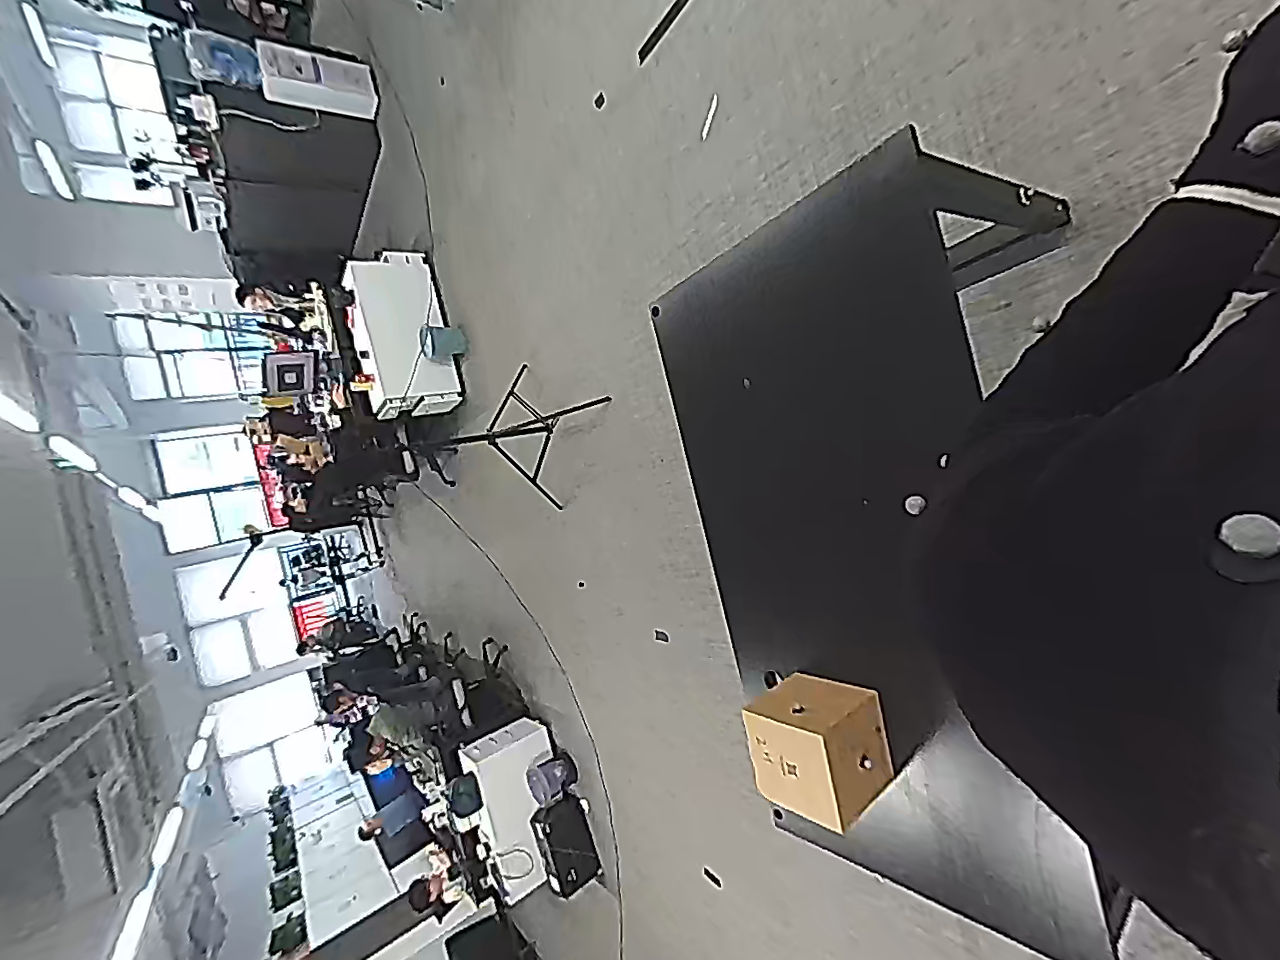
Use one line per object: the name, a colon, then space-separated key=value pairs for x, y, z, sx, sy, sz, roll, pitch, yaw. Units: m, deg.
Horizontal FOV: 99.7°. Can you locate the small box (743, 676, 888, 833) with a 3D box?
small box: x=0.315 y=0.467 z=0.955 sx=0.179 sy=0.176 sz=0.168 roll=-9 pitch=93 yaw=55
